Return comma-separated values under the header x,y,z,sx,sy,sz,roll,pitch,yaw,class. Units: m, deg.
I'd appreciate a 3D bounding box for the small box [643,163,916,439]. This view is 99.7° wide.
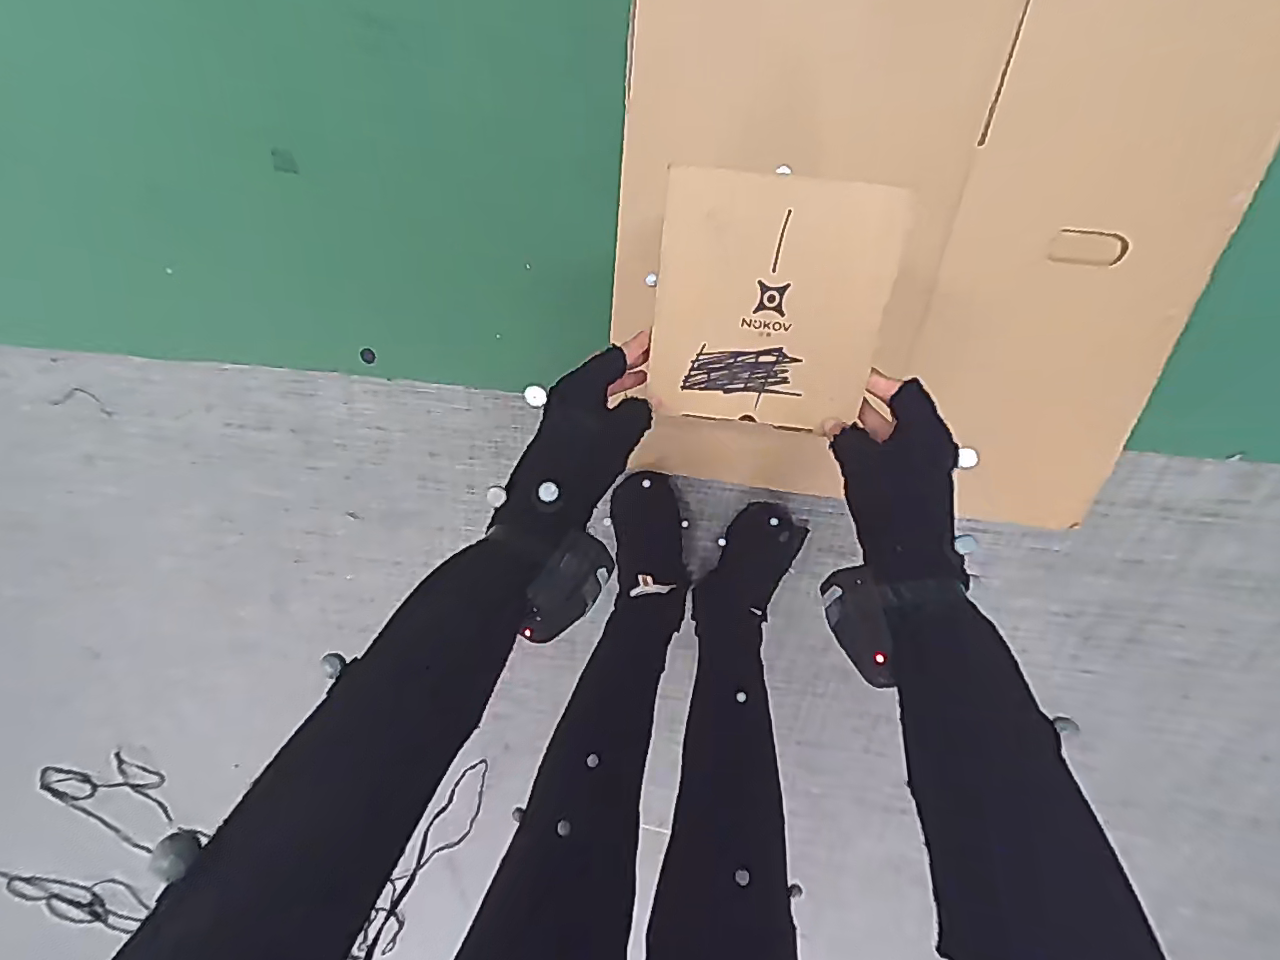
x,y,z,sx,sy,sz,roll,pitch,yaw,class
0.101,-0.153,0.463,0.168,0.176,0.179,8,113,3,small box
